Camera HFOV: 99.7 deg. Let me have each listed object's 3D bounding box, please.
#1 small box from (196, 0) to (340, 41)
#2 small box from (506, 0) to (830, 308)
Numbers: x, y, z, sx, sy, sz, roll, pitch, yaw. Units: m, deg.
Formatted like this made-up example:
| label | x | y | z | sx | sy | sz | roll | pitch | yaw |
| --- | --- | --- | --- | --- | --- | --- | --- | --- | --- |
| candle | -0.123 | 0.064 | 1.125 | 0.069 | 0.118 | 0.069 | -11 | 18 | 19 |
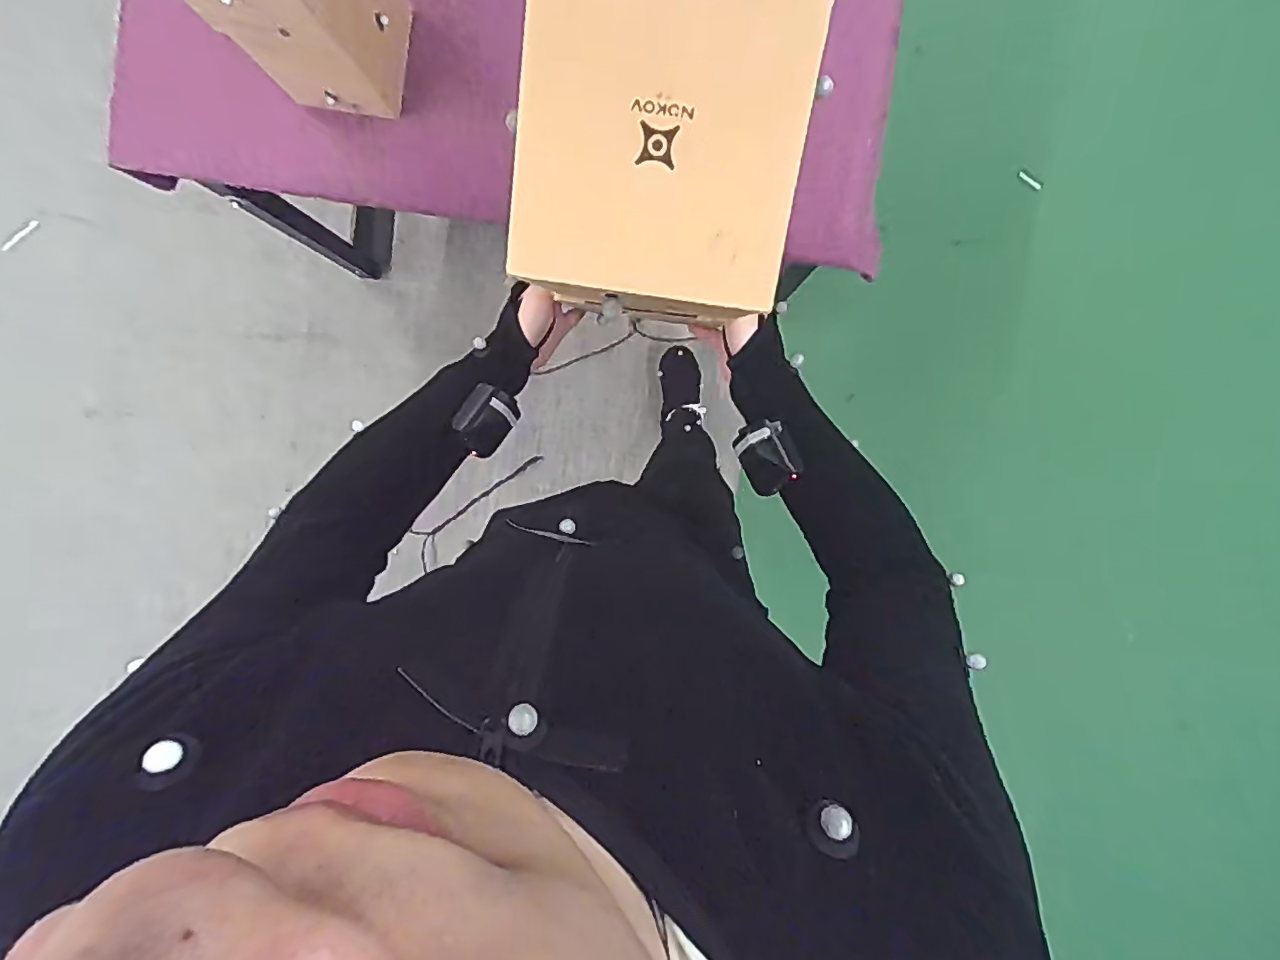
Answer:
| label | x | y | z | sx | sy | sz | roll | pitch | yaw |
| --- | --- | --- | --- | --- | --- | --- | --- | --- | --- |
| small box | -0.452 | -0.643 | 0.600 | 0.168 | 0.176 | 0.179 | 10 | 94 | -1 |
| small box | 0.016 | -0.223 | 0.381 | 0.168 | 0.176 | 0.179 | 8 | 104 | 1 |
